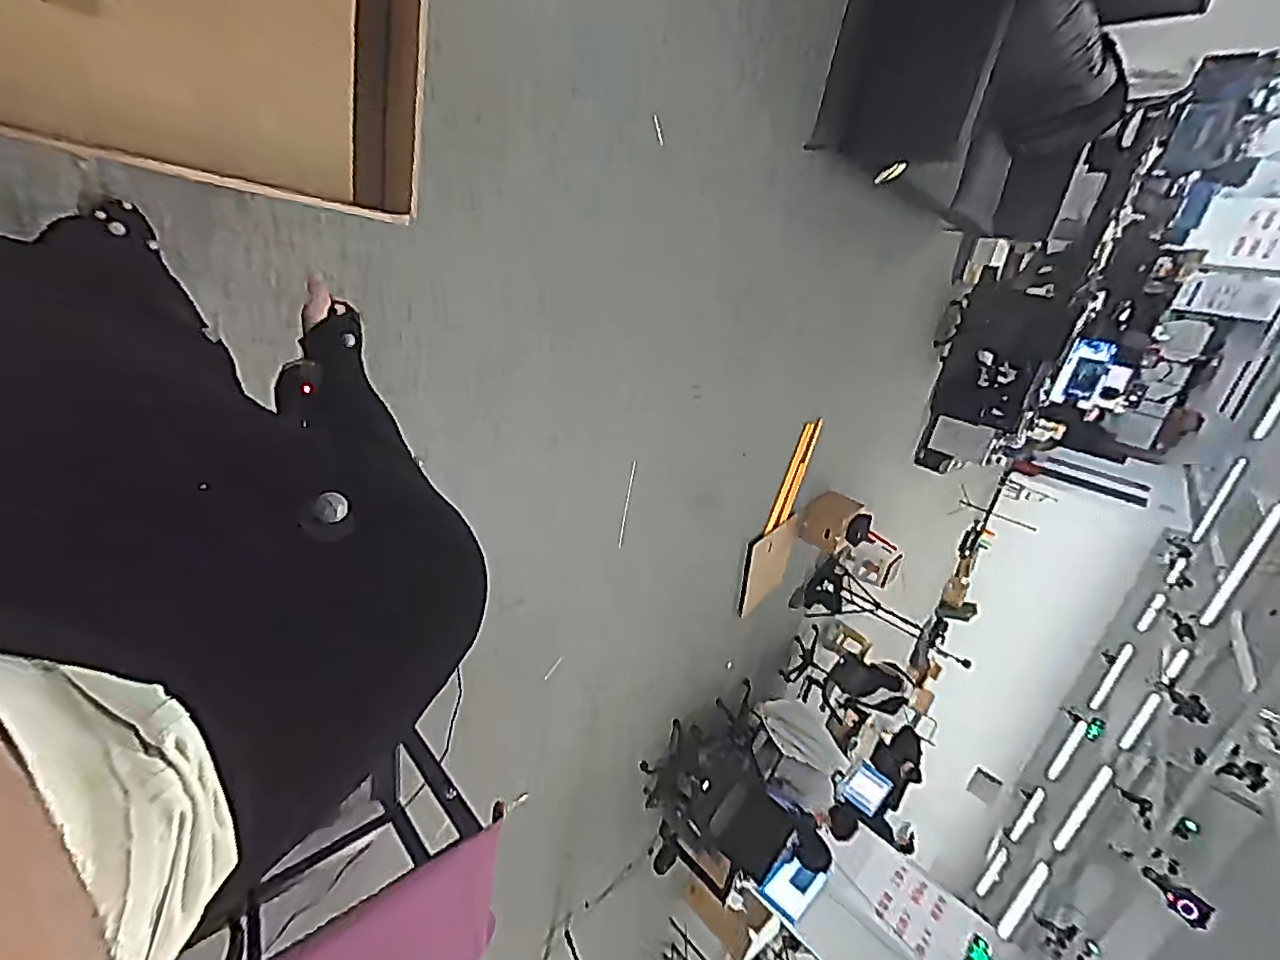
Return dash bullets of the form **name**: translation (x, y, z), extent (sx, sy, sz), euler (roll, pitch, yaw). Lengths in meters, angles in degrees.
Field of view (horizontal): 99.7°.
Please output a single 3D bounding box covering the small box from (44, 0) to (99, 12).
- **small box**: translation (-0.734, -0.681, 0.608), extent (0.168, 0.176, 0.179), euler (-8, 117, -46)
